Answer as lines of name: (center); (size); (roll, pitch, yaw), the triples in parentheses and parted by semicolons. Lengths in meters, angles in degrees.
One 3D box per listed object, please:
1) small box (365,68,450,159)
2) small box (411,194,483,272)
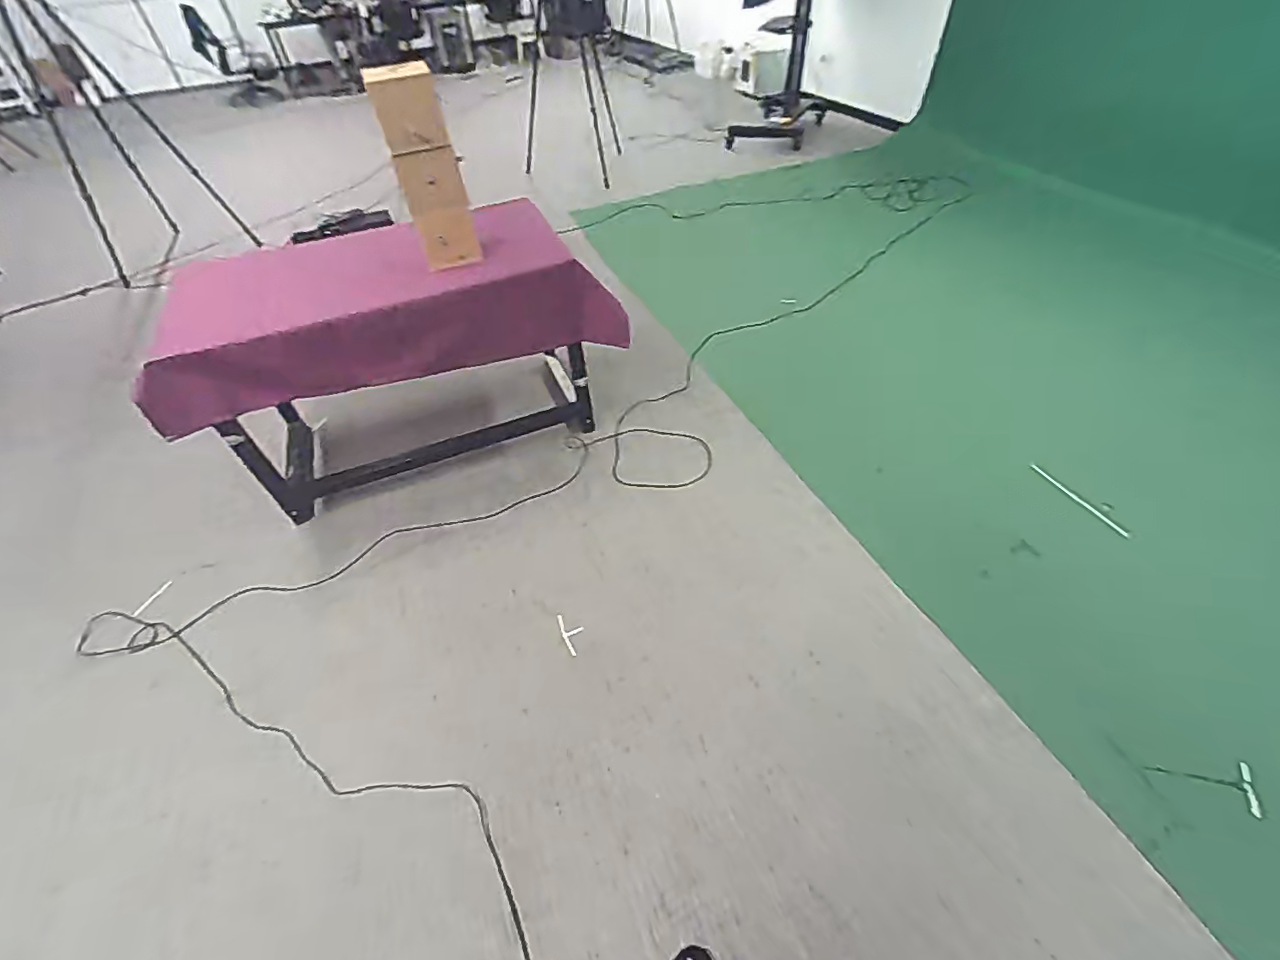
small box: (-0.637, -1.006, 1.485); (0.168, 0.176, 0.179); (-19, 48, -12)
small box: (-0.615, -0.783, 1.727); (0.168, 0.176, 0.179); (-18, 47, -12)
